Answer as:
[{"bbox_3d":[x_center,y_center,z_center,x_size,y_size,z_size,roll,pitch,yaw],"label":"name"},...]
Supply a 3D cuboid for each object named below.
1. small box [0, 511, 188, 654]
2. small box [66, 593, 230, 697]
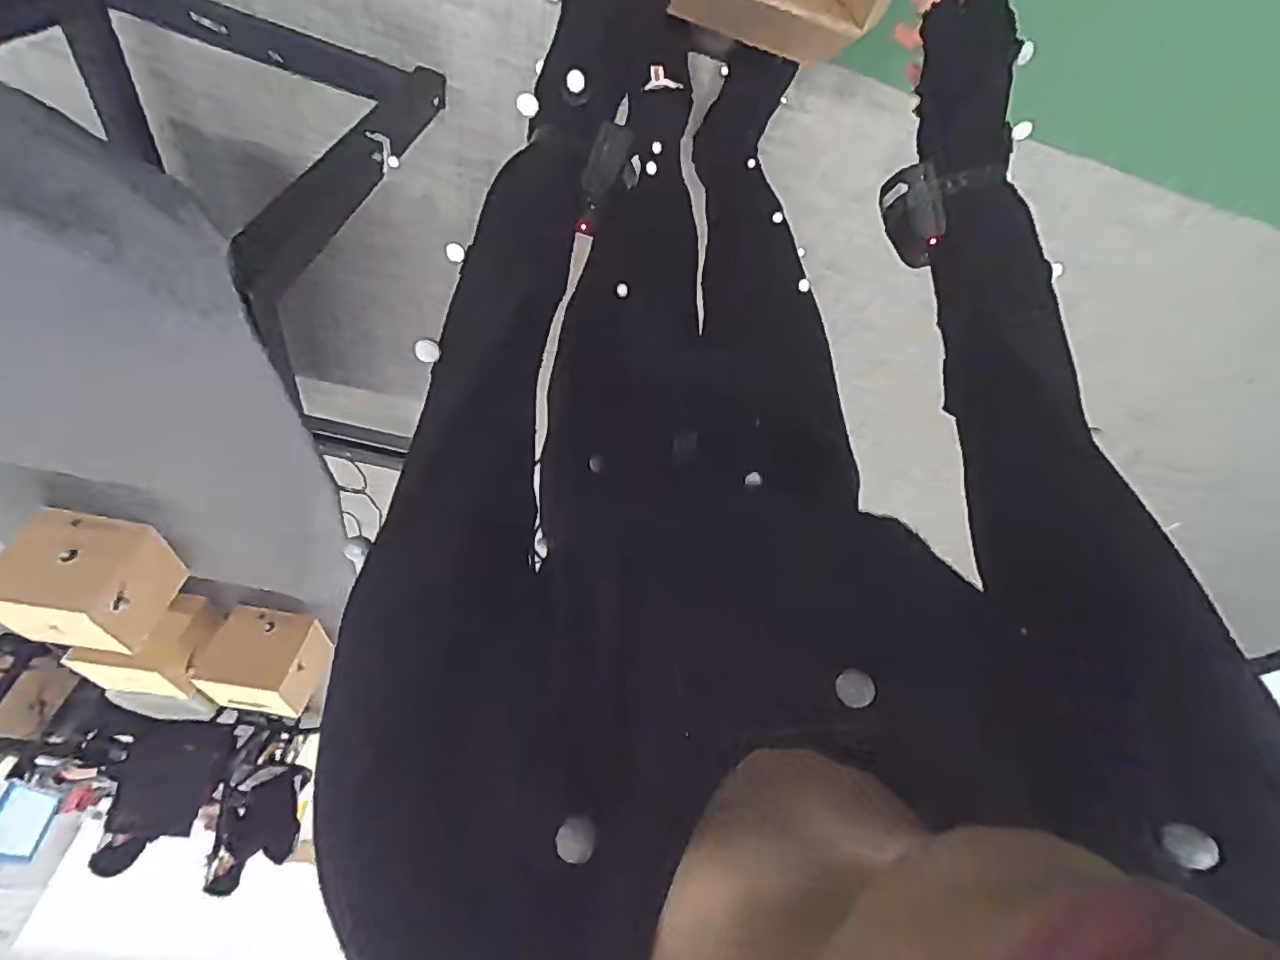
[{"bbox_3d":[-0.929,0.173,0.917,0.168,0.176,0.179,12,141,-9],"label":"small box"},{"bbox_3d":[-1.014,0.338,1.136,0.168,0.176,0.179,12,141,-9],"label":"small box"}]
